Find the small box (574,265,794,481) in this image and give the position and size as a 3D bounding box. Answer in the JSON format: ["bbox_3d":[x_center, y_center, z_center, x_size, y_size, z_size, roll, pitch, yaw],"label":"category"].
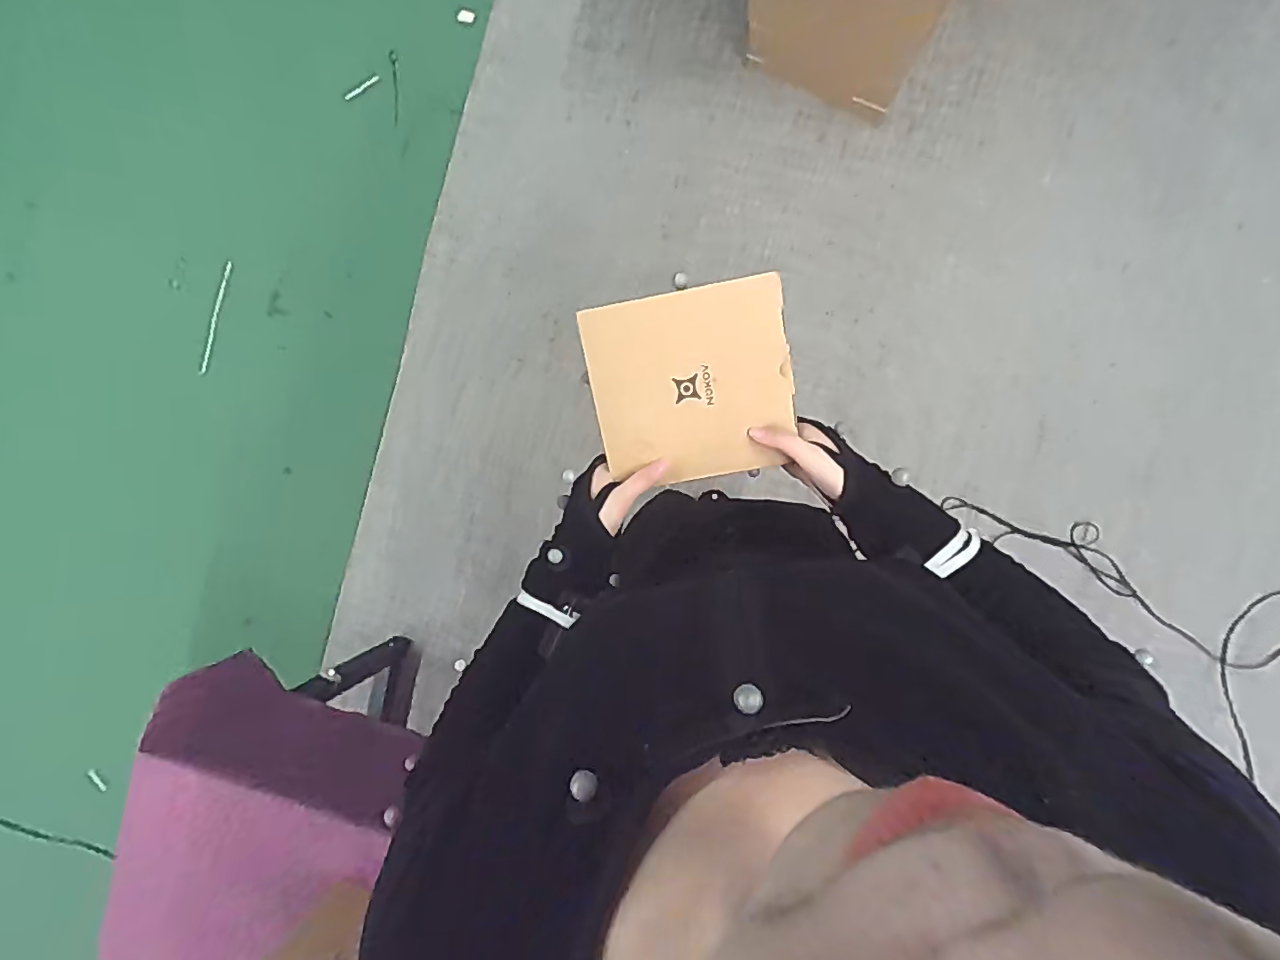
[{"bbox_3d":[0.044,-0.107,0.551,0.179,0.176,0.168,-10,104,4],"label":"small box"}]
